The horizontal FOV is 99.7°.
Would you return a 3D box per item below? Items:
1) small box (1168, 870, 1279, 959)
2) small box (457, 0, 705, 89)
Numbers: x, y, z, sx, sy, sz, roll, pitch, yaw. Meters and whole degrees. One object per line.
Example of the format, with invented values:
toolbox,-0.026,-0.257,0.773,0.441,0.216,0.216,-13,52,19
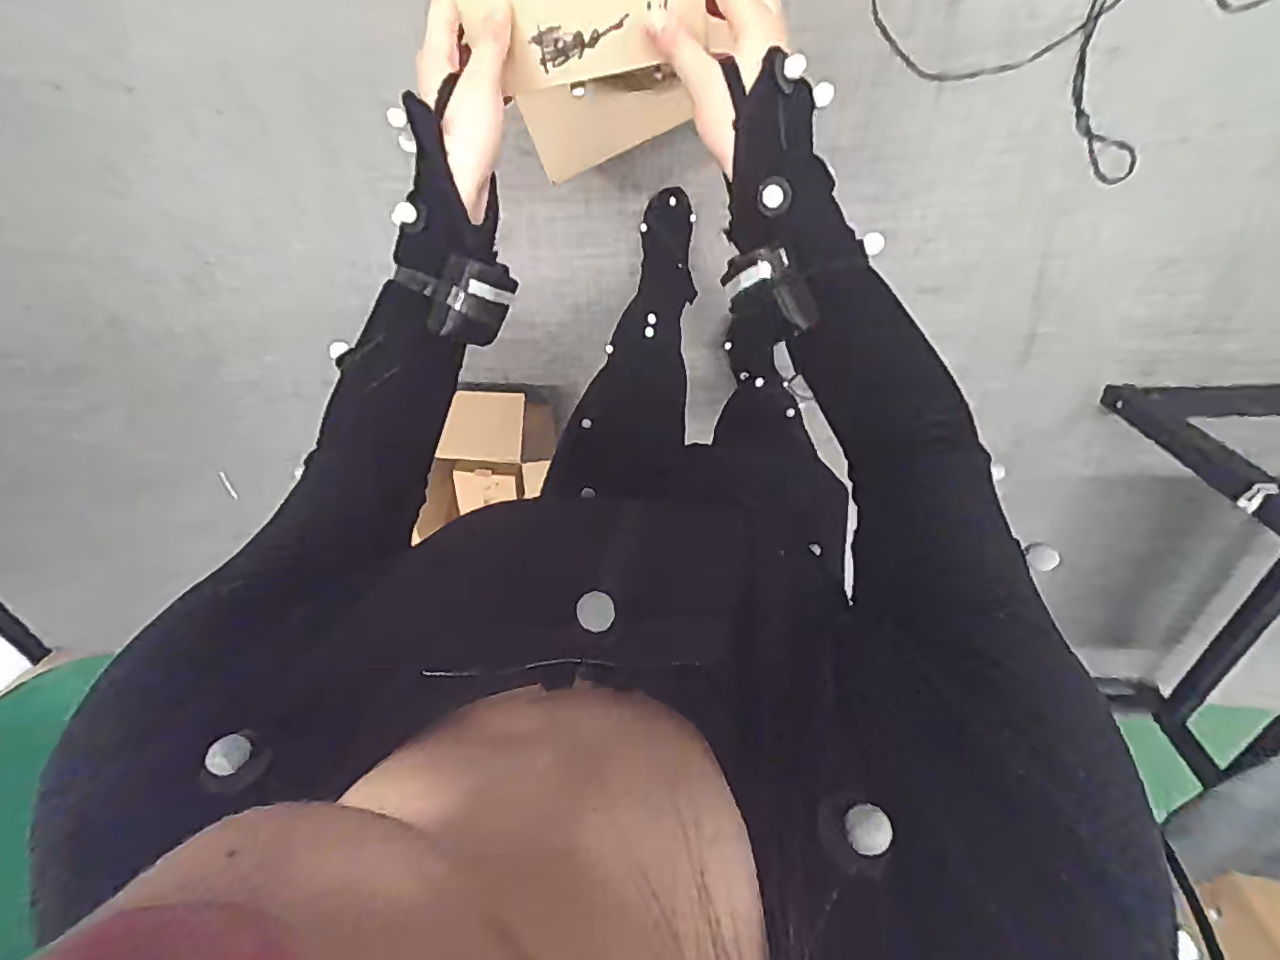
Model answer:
small box,1.206,0.886,1.040,0.179,0.176,0.168,13,123,-2
small box,-0.046,-0.415,0.378,0.168,0.176,0.179,-4,141,11
